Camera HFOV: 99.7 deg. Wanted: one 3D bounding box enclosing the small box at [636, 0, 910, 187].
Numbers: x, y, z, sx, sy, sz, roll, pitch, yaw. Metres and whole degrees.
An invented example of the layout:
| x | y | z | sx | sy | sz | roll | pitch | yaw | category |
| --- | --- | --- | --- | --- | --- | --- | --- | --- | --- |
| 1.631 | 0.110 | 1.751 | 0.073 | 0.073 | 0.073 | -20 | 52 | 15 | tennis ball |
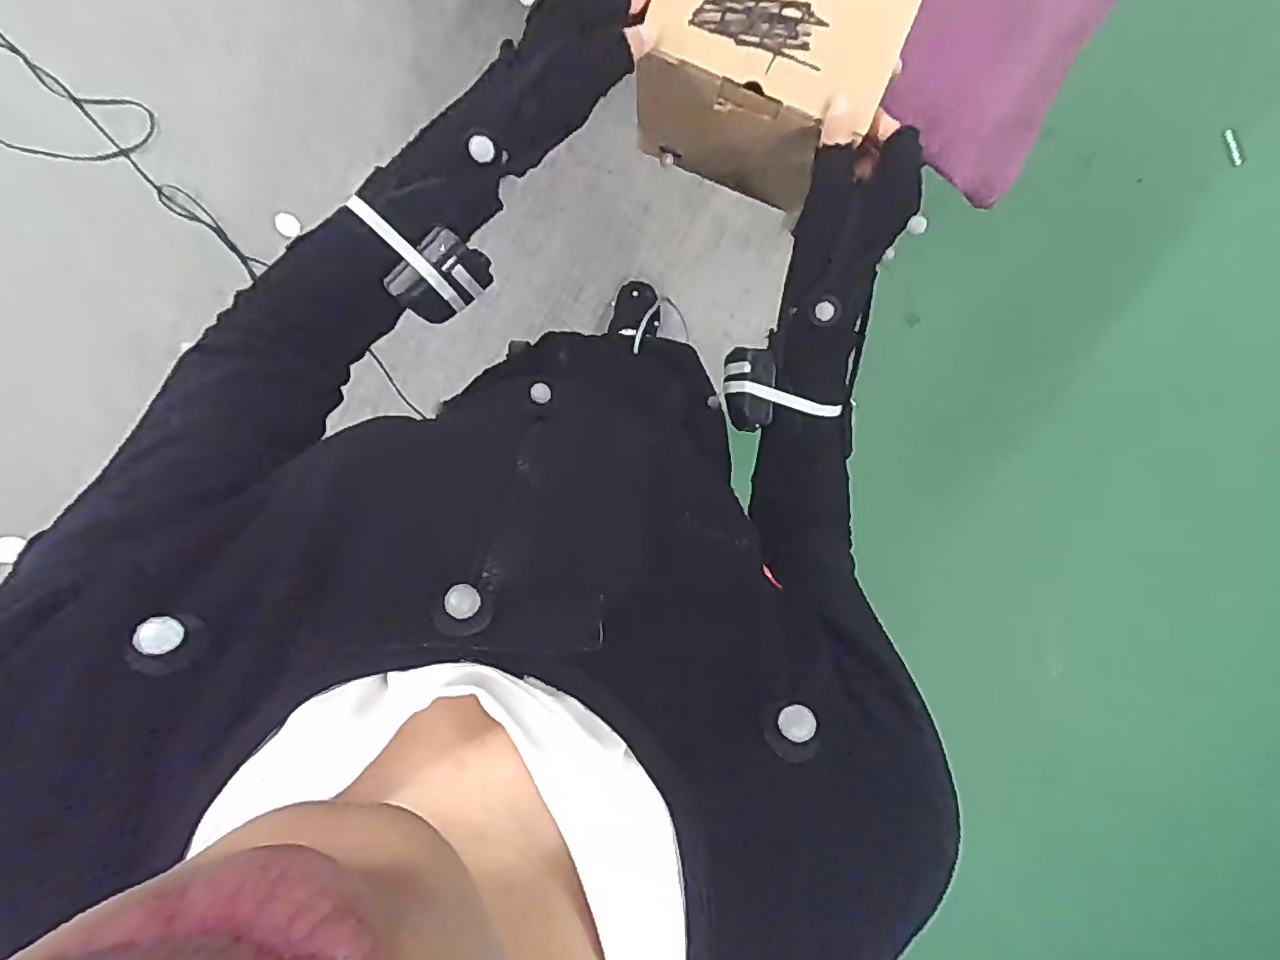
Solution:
| x | y | z | sx | sy | sz | roll | pitch | yaw | category |
| --- | --- | --- | --- | --- | --- | --- | --- | --- | --- |
| 0.106 | -0.364 | 0.421 | 0.168 | 0.176 | 0.179 | 21 | 100 | -3 | small box |
